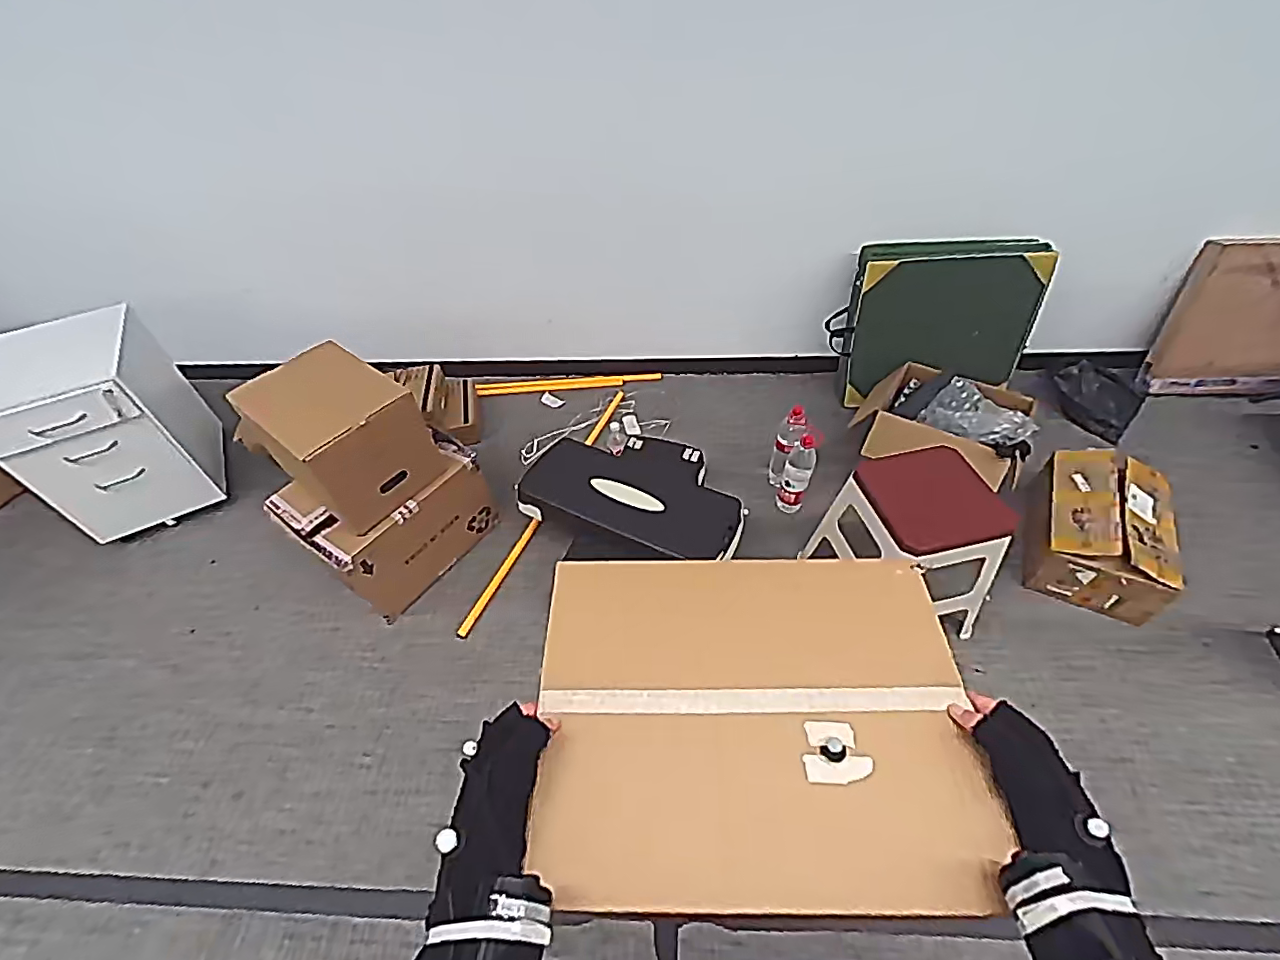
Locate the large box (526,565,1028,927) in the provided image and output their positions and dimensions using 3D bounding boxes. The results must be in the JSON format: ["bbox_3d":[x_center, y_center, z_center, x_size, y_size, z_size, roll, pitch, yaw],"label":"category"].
[{"bbox_3d":[0.108,0.314,0.631,0.408,0.320,0.320,-1,50,2],"label":"large box"}]
